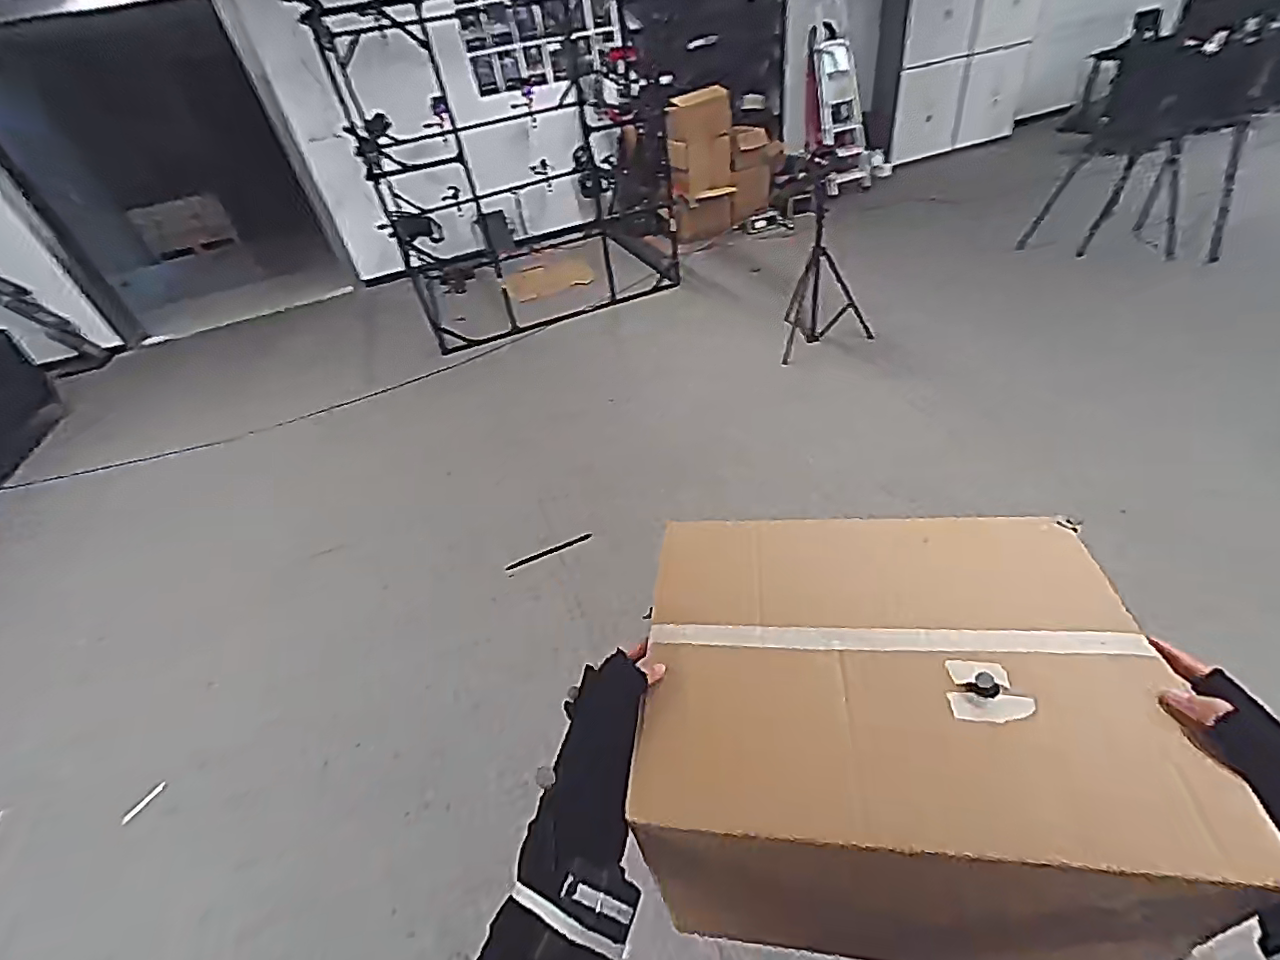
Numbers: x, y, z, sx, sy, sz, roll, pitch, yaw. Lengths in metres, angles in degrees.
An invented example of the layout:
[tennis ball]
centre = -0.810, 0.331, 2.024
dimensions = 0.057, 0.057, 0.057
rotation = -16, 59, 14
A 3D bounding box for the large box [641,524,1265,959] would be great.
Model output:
[large box]
centre = 0.234, 0.263, 0.573
dimensions = 0.408, 0.320, 0.320
rotation = -1, 39, 12
